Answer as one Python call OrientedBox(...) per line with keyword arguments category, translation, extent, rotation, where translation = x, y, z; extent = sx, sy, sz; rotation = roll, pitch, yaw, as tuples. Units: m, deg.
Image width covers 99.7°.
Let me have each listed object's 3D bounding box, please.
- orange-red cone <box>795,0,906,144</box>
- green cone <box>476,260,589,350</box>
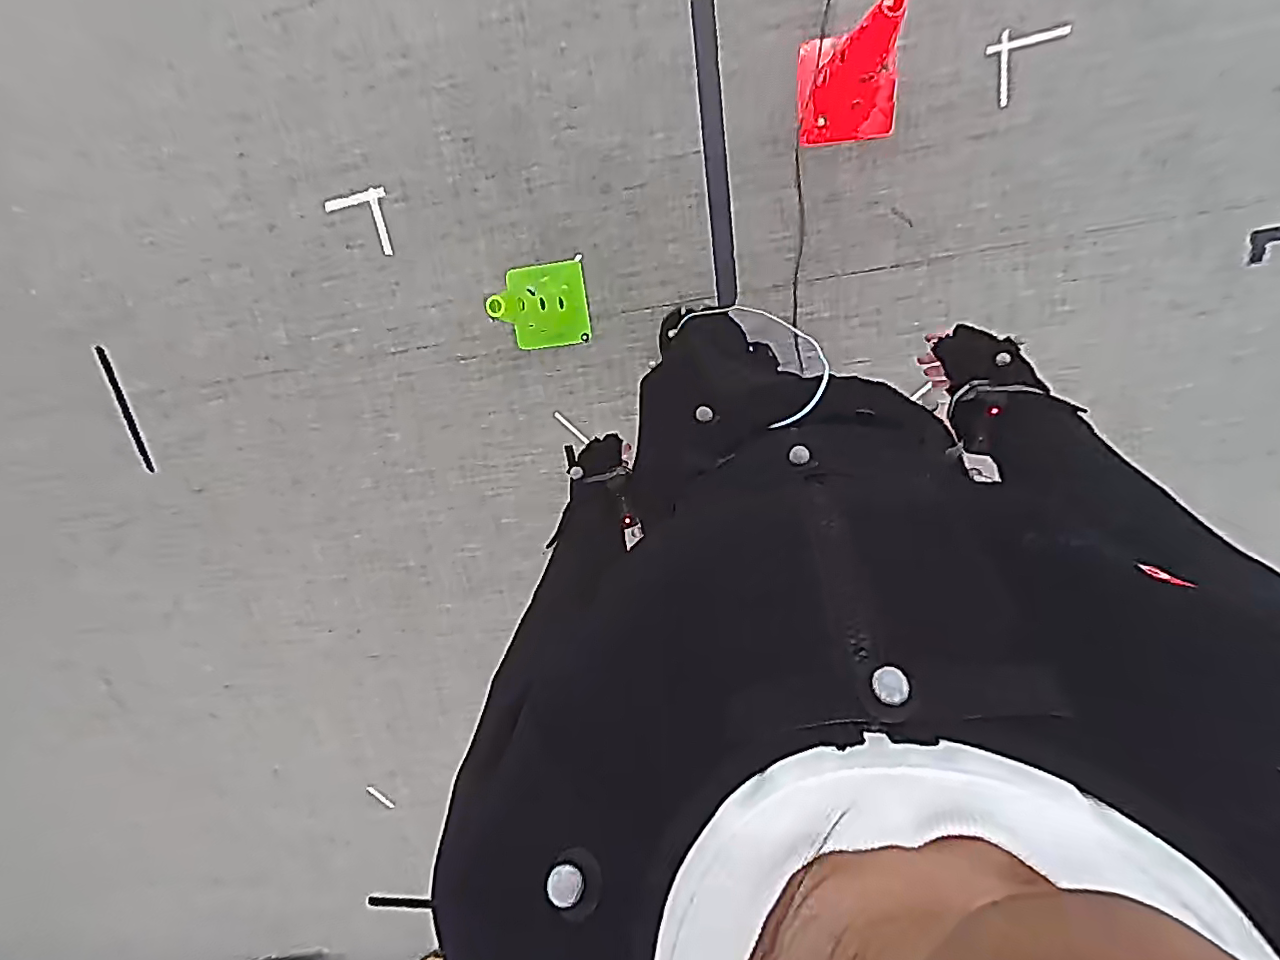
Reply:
OrientedBox(category="orange-red cone", translation=(0.416, -0.785, 0.996), extent=(0.199, 0.360, 0.198), rotation=(-1, 108, 8))
OrientedBox(category="green cone", translation=(-0.265, -0.394, 1.210), extent=(0.202, 0.368, 0.200), rotation=(-5, 106, 11))
